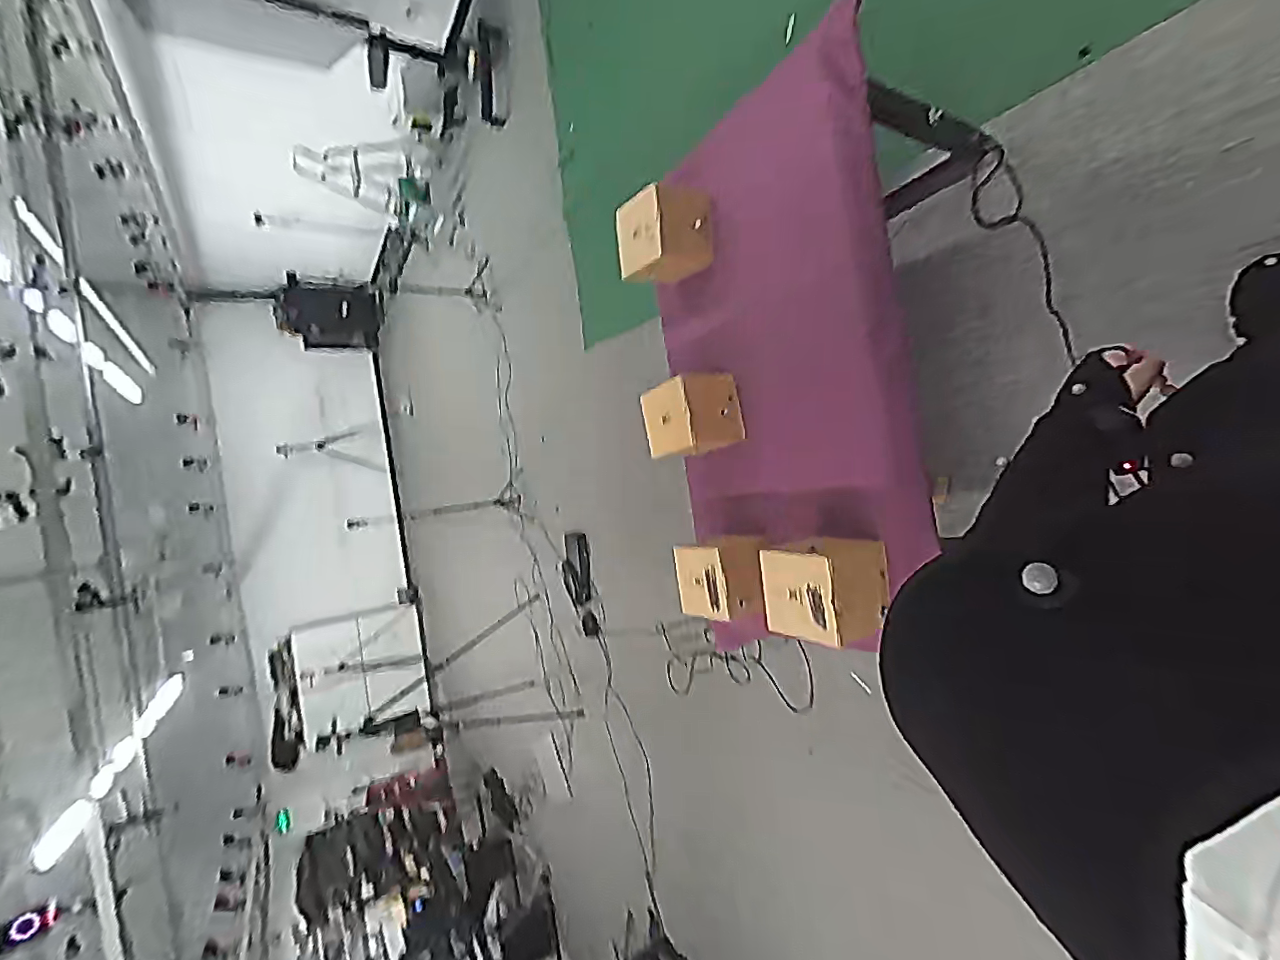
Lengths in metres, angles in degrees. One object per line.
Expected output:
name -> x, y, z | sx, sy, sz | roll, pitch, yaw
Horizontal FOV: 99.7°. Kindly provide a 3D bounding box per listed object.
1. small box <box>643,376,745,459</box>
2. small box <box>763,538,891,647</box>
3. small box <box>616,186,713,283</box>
small box -> 0.134, -0.154, 1.350 | 0.179, 0.176, 0.168 | -18, 82, 55
small box -> 0.375, 0.211, 1.071 | 0.179, 0.176, 0.168 | -5, 93, 58
small box -> 0.061, -0.600, 1.348 | 0.179, 0.176, 0.168 | 1, 99, 55
